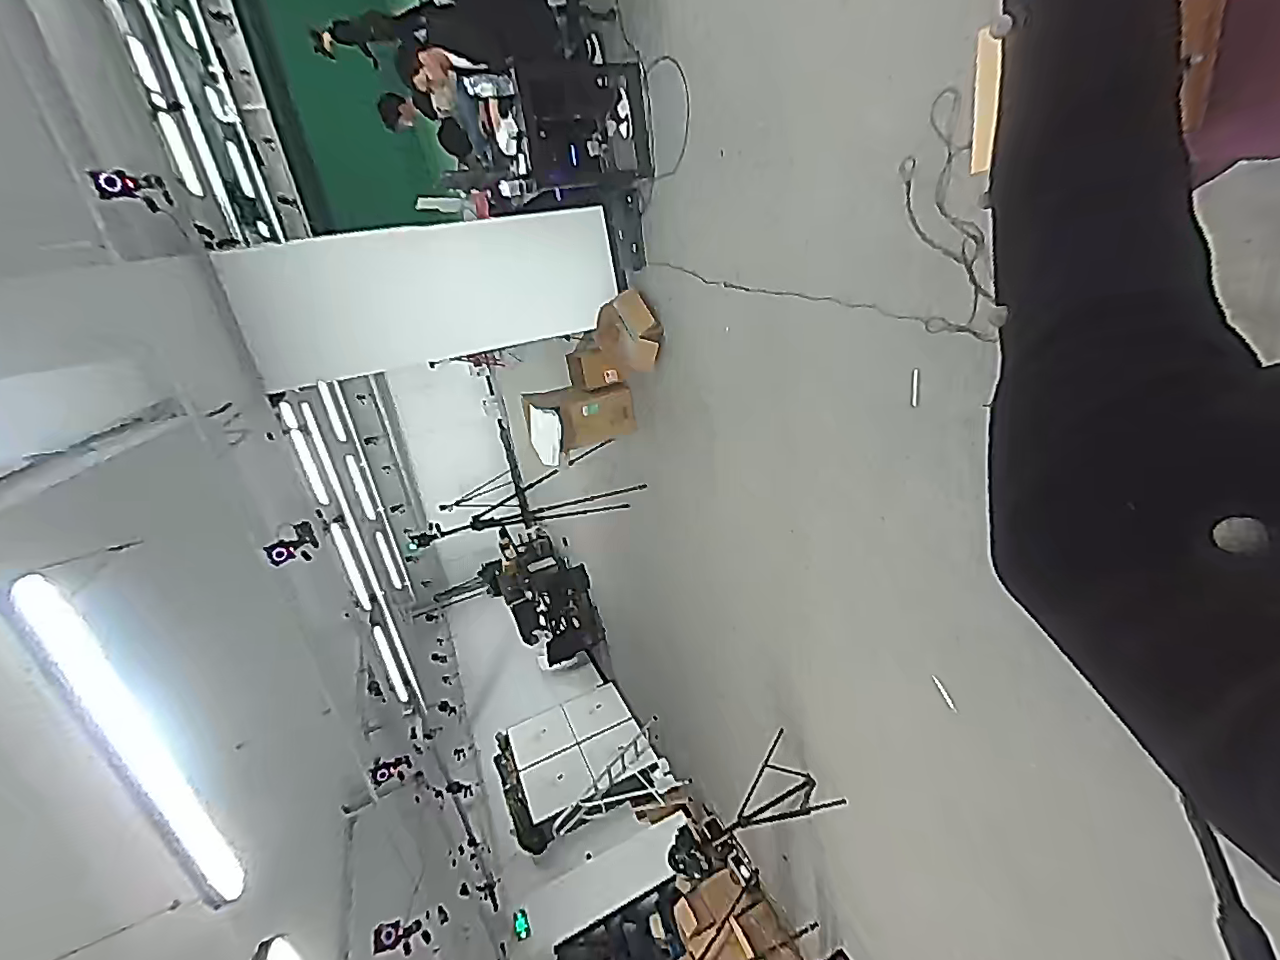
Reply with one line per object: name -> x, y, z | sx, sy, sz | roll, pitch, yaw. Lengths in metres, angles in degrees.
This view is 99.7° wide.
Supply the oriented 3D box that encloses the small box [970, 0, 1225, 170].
small box -> 0.549, -0.495, 0.665 | 0.179, 0.176, 0.168 | 31, 135, 60
